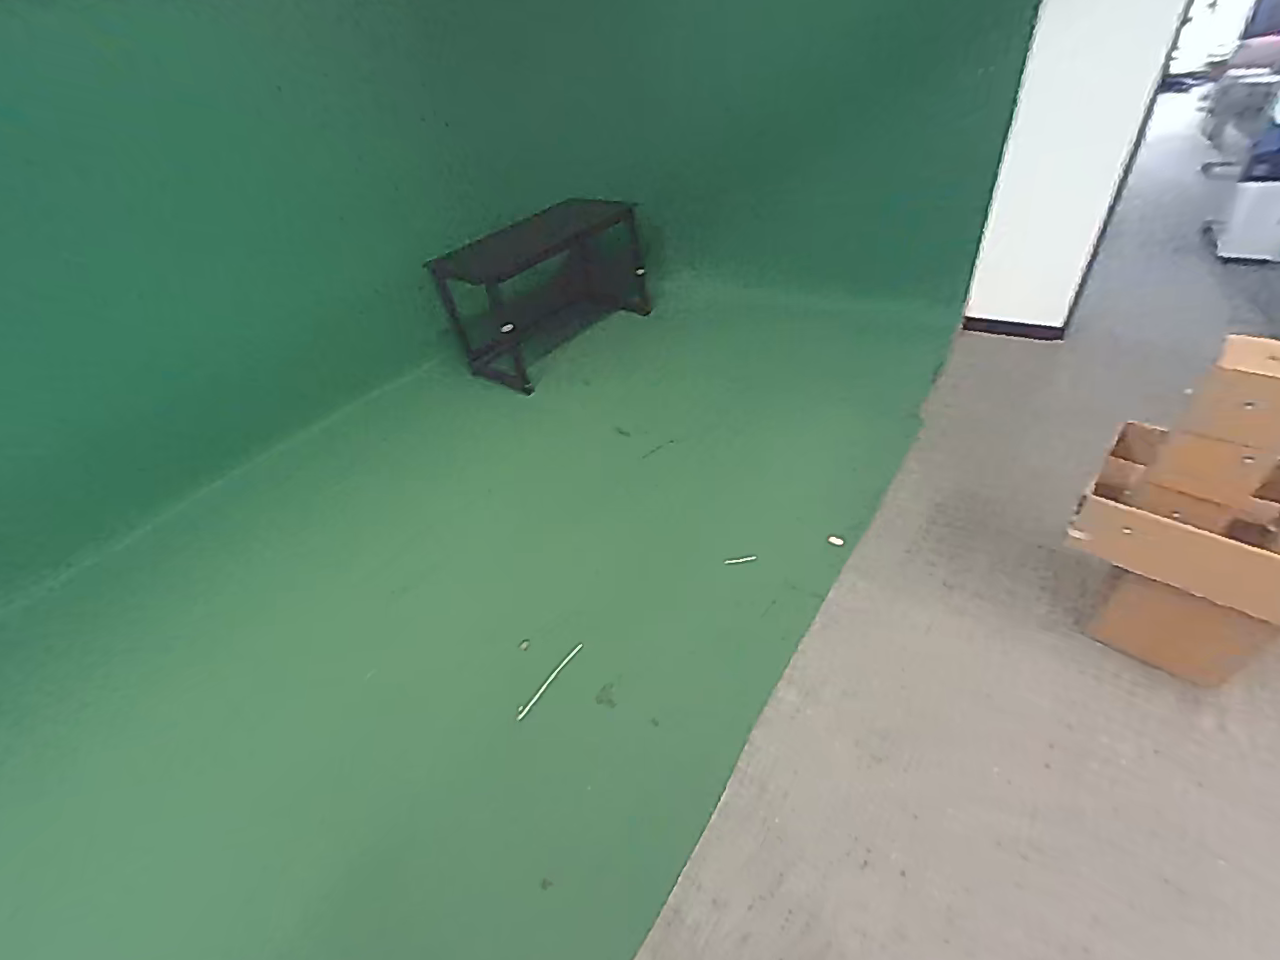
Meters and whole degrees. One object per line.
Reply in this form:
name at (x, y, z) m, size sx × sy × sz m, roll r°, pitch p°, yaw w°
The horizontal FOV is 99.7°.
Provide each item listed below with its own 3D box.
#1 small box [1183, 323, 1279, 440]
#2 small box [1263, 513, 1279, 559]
small box at (1.331, -0.210, 1.158) m, size 0.179 × 0.176 × 0.168 m, roll 26°, pitch 55°, yaw 36°
small box at (1.591, 0.110, 1.230) m, size 0.179 × 0.176 × 0.168 m, roll -37°, pitch 47°, yaw -24°
